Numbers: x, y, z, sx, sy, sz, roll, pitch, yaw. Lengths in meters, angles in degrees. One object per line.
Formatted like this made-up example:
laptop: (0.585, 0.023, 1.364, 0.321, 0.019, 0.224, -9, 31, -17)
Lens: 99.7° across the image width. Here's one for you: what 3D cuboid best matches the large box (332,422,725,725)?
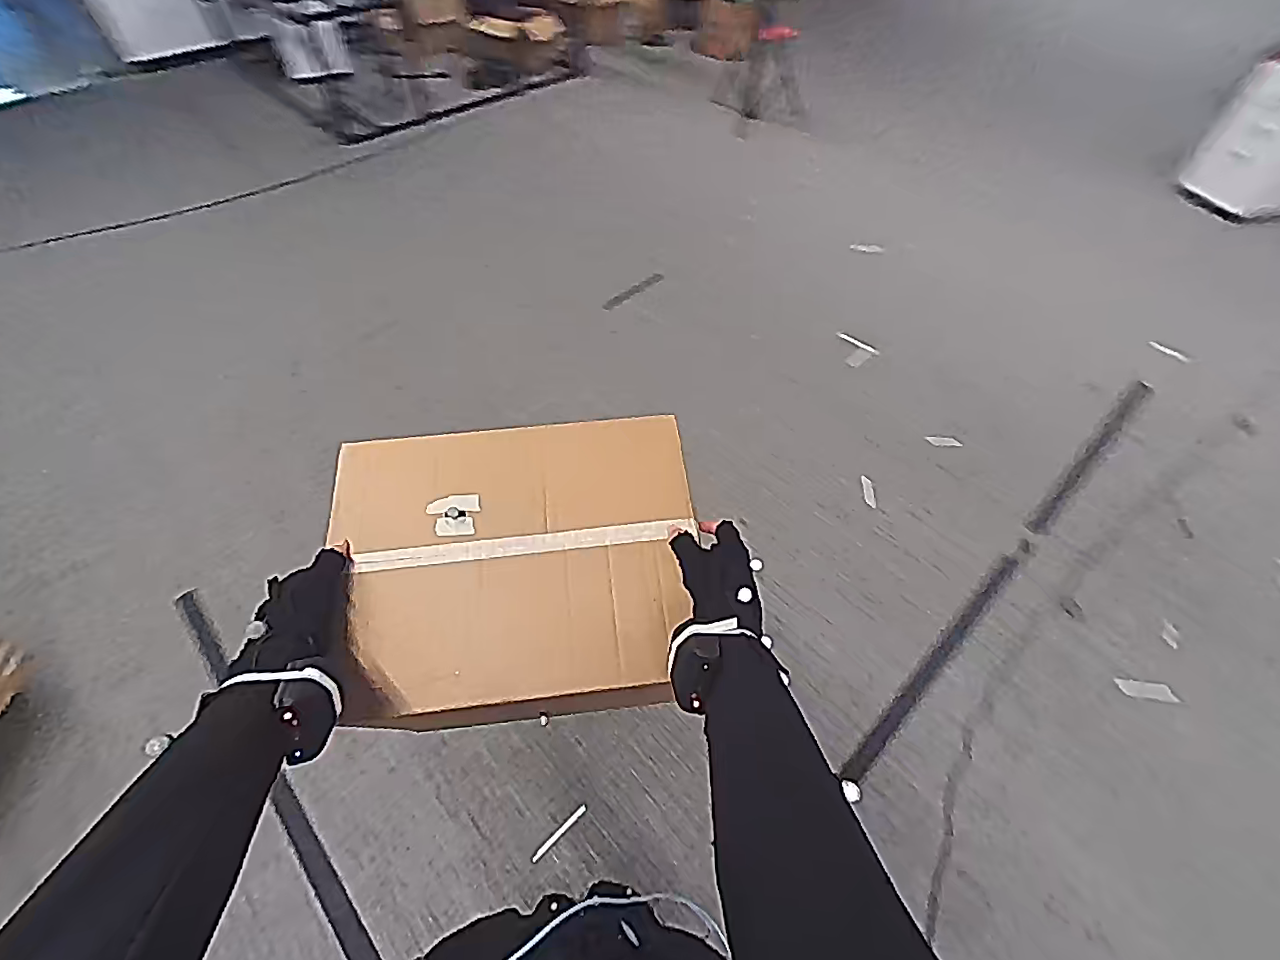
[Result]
large box: (-0.124, 0.145, 0.742, 0.408, 0.320, 0.320, -5, 63, -3)
